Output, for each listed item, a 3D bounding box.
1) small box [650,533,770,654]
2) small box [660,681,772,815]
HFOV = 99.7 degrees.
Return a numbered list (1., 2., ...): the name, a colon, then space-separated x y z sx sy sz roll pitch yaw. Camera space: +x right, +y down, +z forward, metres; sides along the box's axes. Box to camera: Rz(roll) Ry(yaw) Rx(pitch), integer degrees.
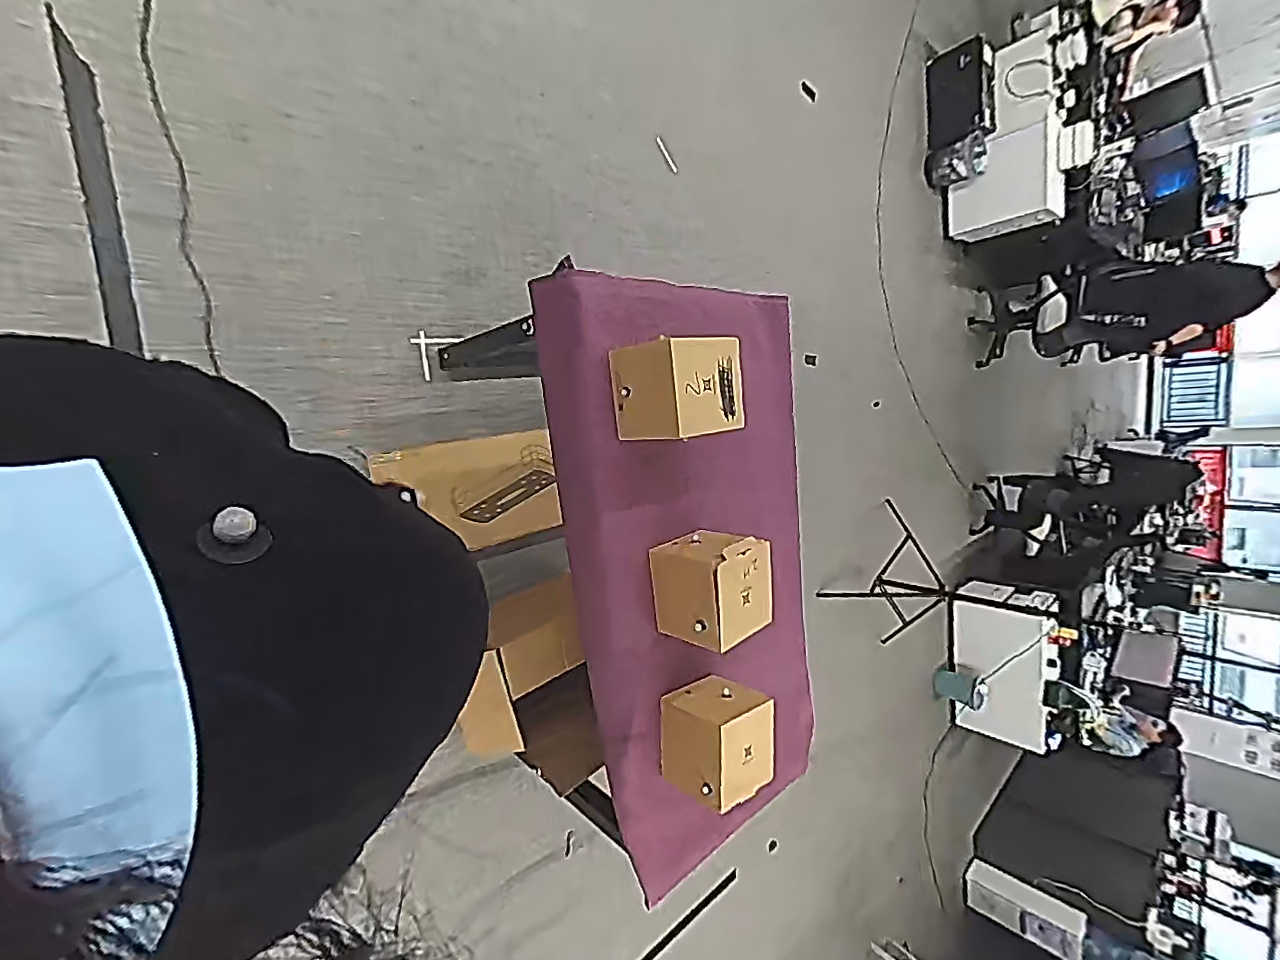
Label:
1. small box: 0.138 0.216 1.078 0.168 0.176 0.179 -15 102 -42
2. small box: 0.154 0.532 1.112 0.168 0.176 0.179 -5 96 -41
